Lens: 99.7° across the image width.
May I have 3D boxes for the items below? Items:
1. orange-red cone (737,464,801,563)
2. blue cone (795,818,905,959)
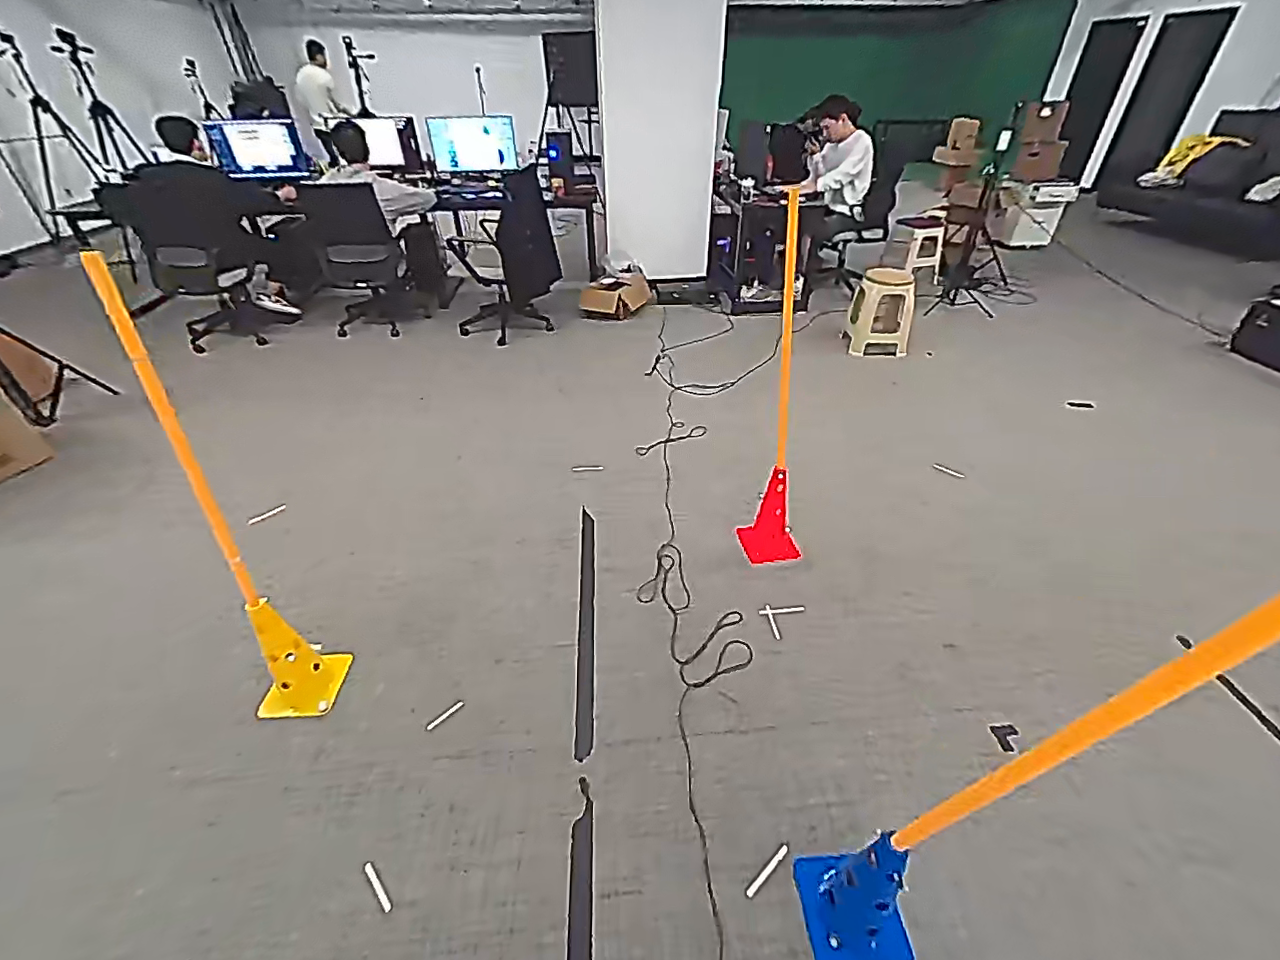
[{"bbox_3d":[0.477,0.100,1.929,0.199,0.360,0.198,-7,36,-6],"label":"orange-red cone"},{"bbox_3d":[0.437,0.765,1.041,0.193,0.380,0.192,-1,35,-1],"label":"blue cone"}]
